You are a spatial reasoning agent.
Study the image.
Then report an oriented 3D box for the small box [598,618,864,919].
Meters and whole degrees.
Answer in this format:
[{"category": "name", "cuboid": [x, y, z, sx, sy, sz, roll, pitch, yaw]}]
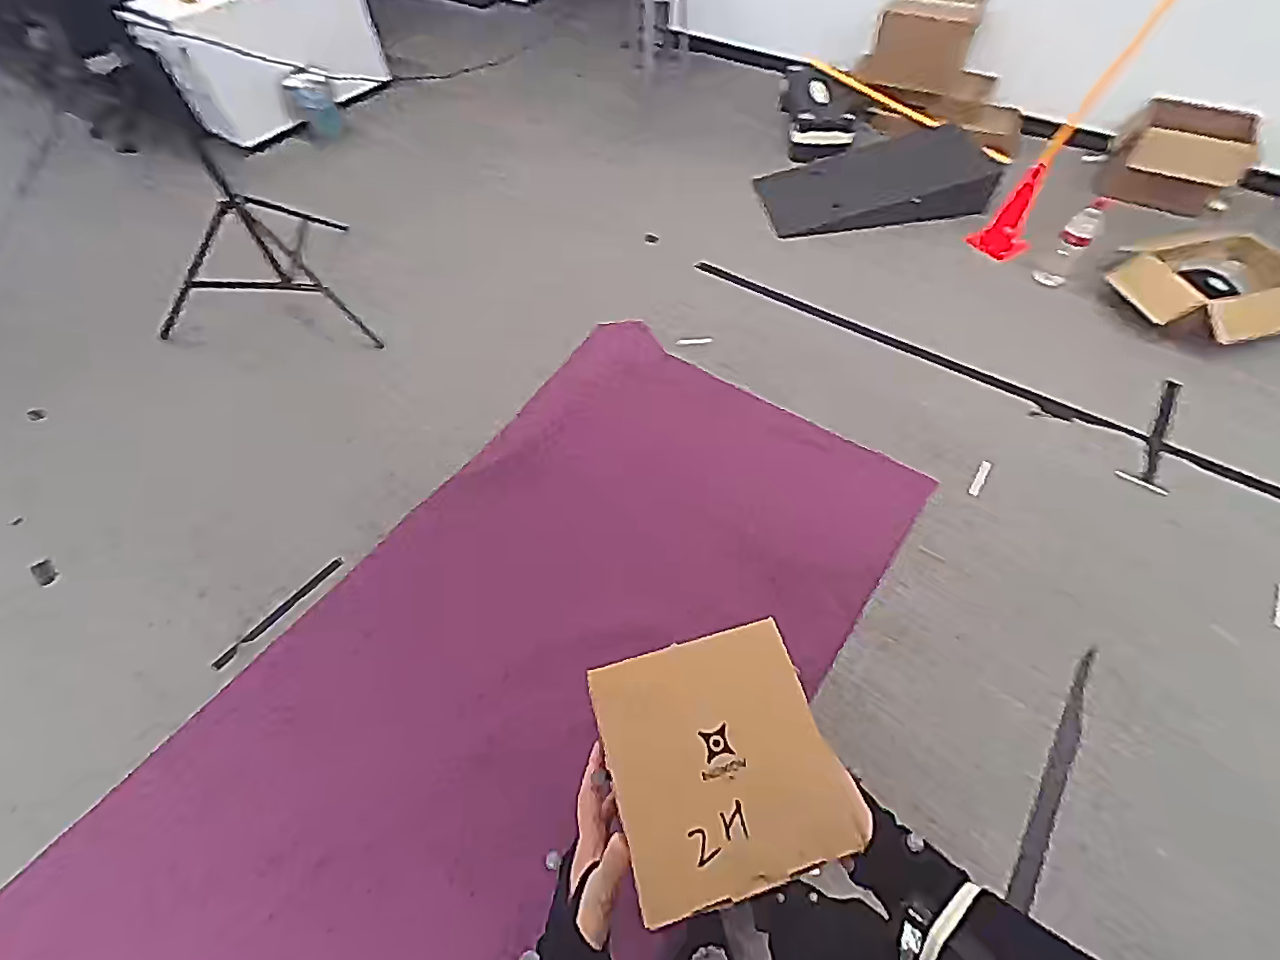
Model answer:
[{"category": "small box", "cuboid": [0.059, 0.246, 0.486, 0.168, 0.176, 0.179, -13, 64, -9]}]
